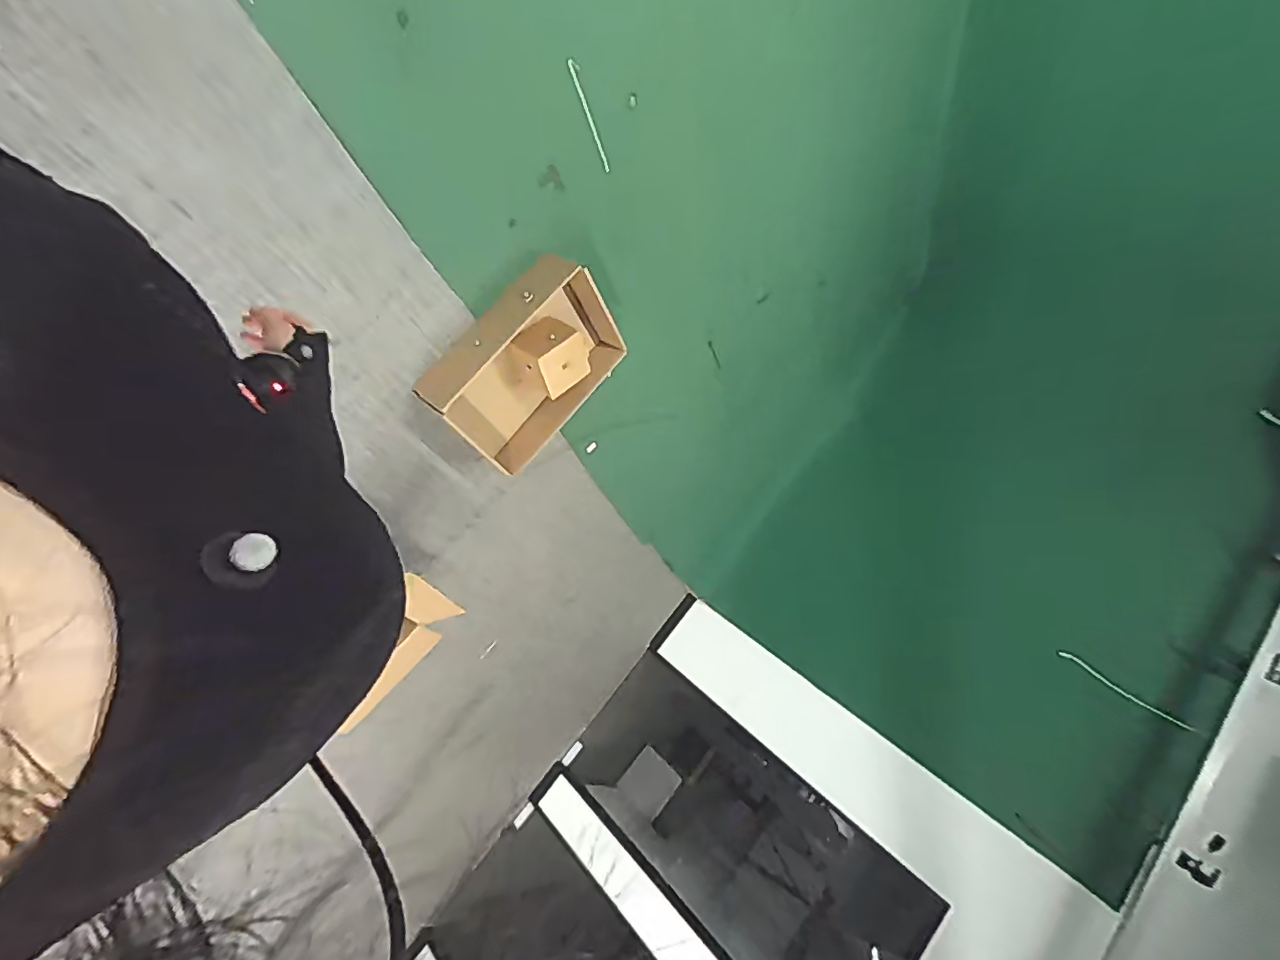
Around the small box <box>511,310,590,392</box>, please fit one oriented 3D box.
[{"bbox_3d":[-0.295,-0.421,1.753,0.179,0.176,0.168,-42,145,-21],"label":"small box"}]
